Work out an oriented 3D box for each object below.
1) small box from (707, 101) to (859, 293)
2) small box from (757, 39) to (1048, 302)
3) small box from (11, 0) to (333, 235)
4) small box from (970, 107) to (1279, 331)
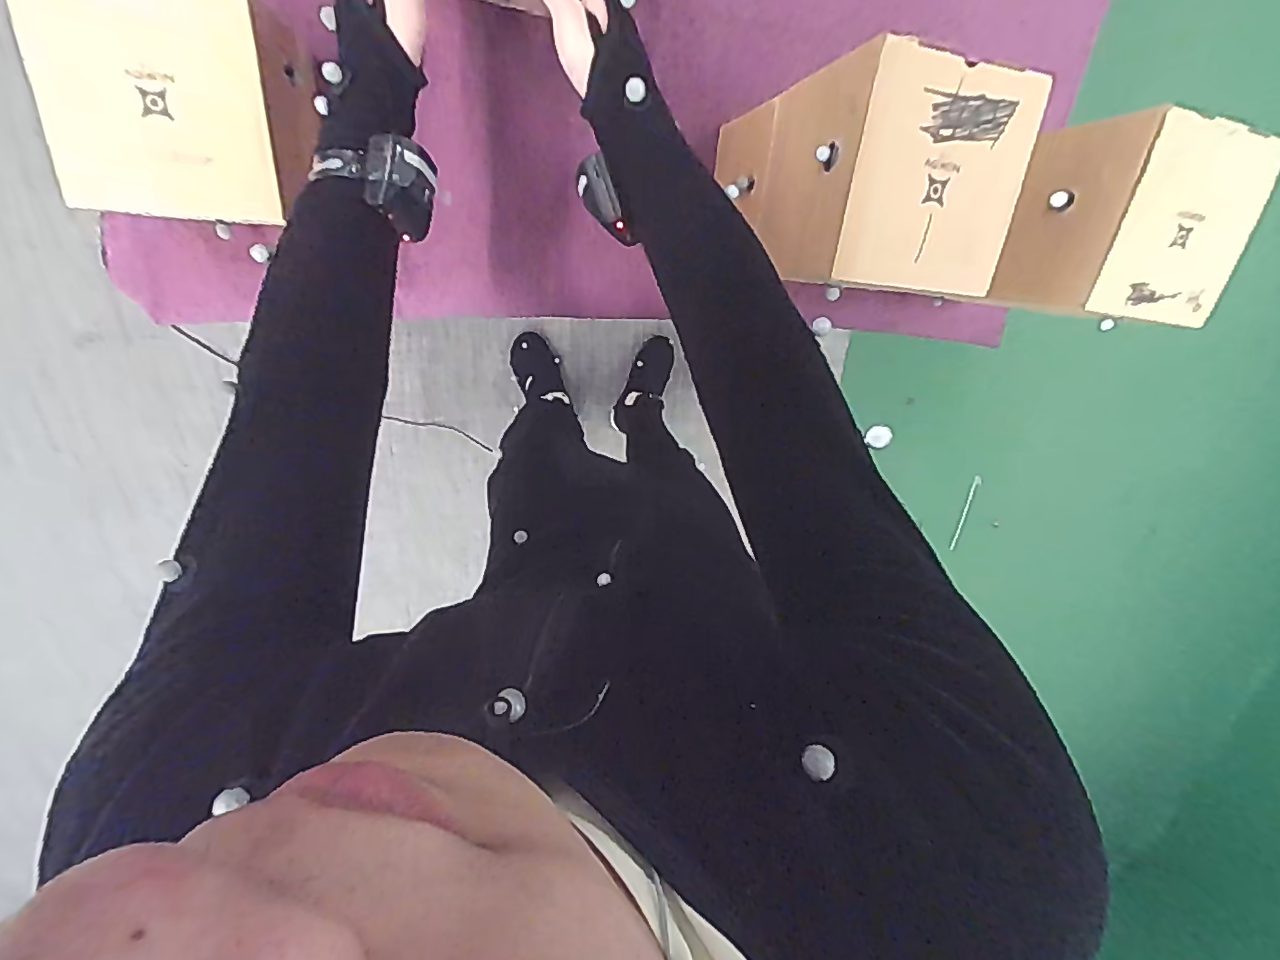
[{"bbox_3d":[0.192,-0.336,0.674,0.168,0.176,0.179,0,111,-14],"label":"small box"},{"bbox_3d":[0.230,-0.277,0.525,0.168,0.176,0.179,1,112,-14],"label":"small box"},{"bbox_3d":[-0.415,-0.339,0.517,0.168,0.176,0.179,-2,112,-13],"label":"small box"},{"bbox_3d":[0.504,-0.270,0.593,0.168,0.176,0.179,3,111,-14],"label":"small box"}]
